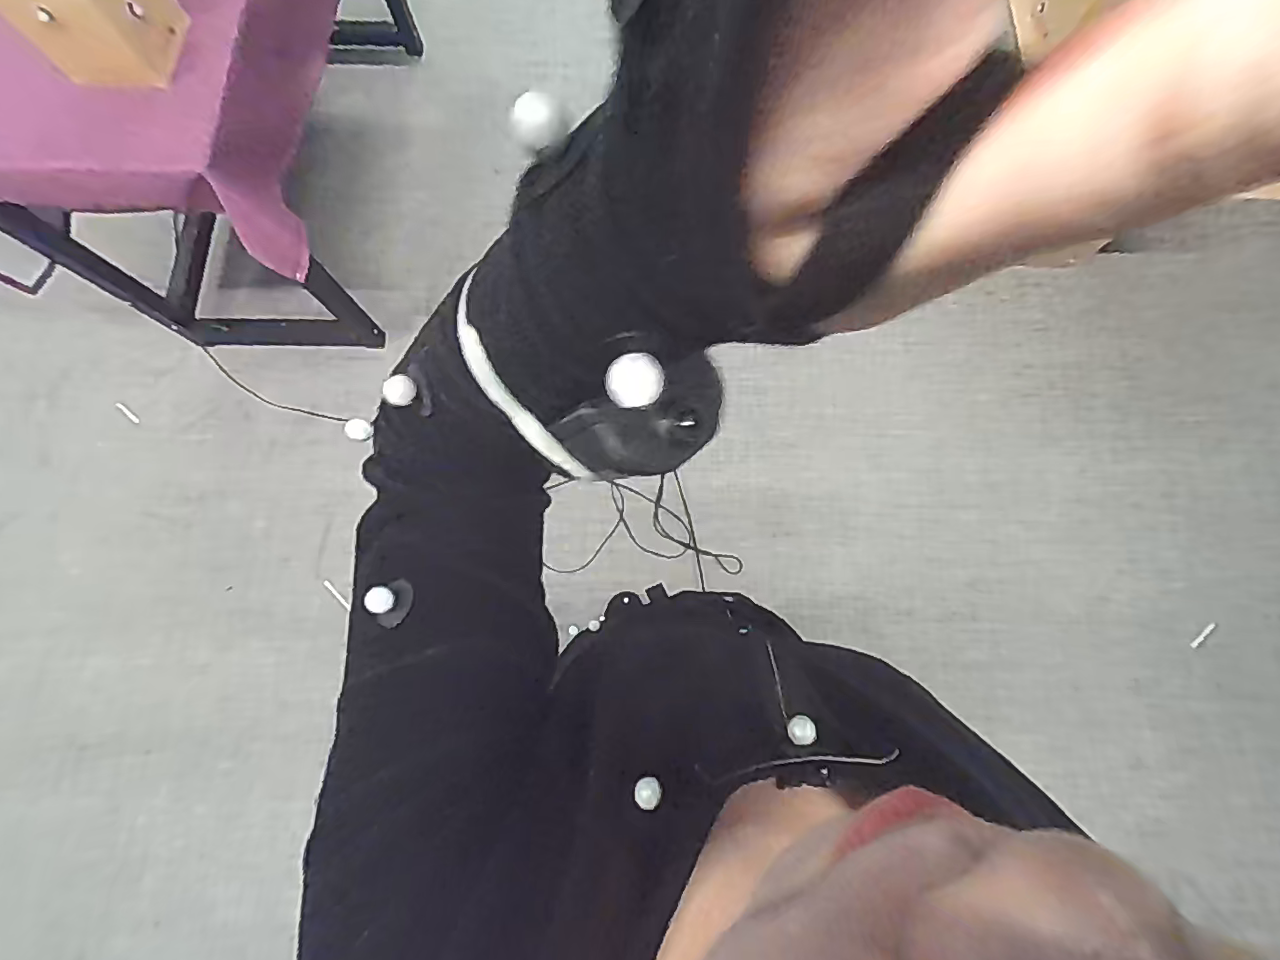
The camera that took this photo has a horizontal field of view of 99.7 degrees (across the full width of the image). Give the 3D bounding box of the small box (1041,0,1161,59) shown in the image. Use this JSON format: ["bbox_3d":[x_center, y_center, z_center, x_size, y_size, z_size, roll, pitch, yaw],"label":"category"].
[{"bbox_3d":[1.094,-1.139,1.278,0.179,0.176,0.168,-4,77,-2],"label":"small box"}]
